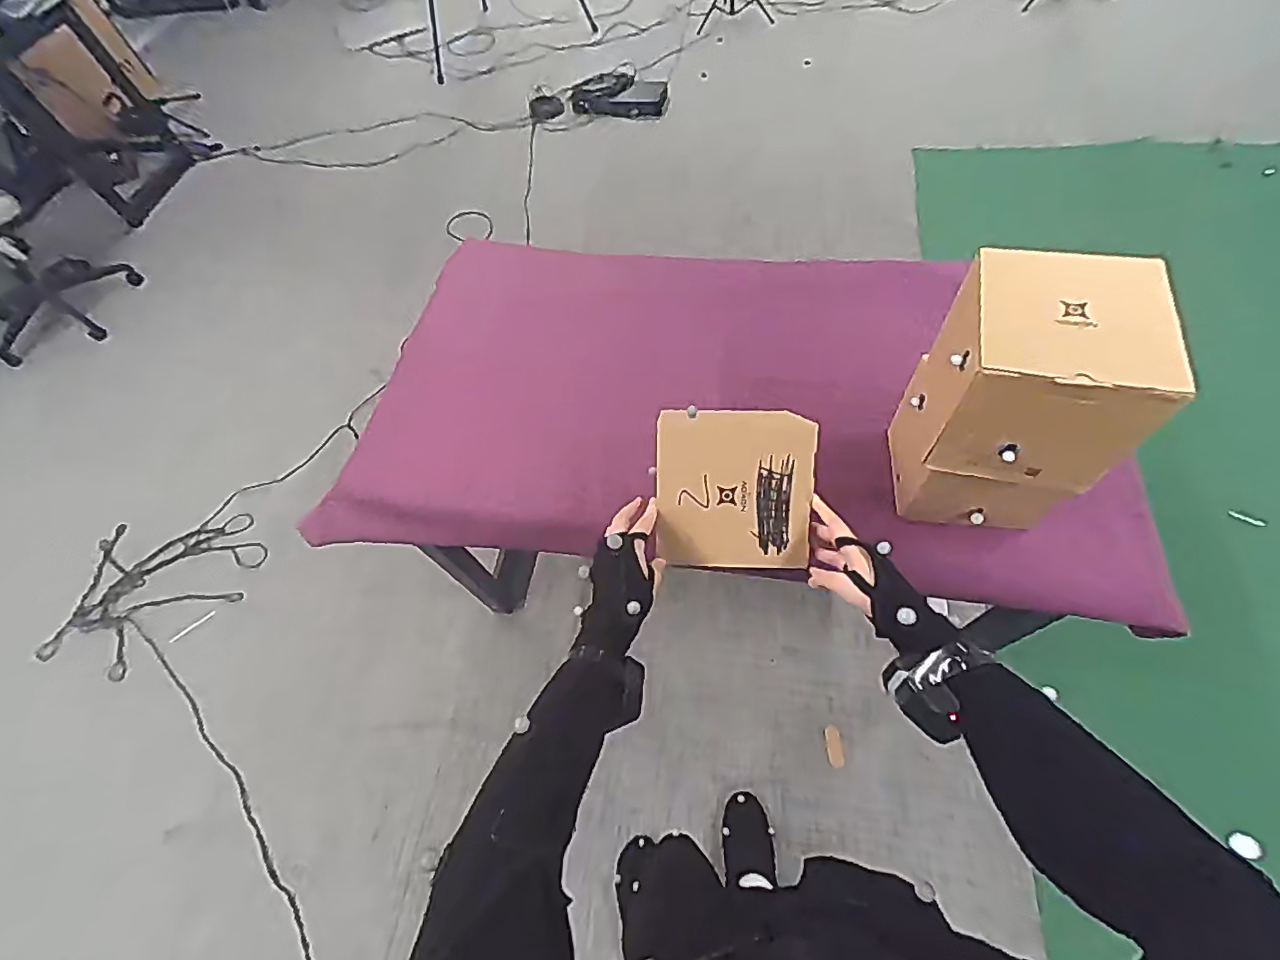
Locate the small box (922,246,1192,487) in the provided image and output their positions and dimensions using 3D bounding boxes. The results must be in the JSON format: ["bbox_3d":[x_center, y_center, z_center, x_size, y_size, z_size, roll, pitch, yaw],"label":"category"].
[{"bbox_3d":[0.415,-0.118,0.576,0.168,0.176,0.179,10,61,15],"label":"small box"}]

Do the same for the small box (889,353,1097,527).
[{"bbox_3d":[0.452,-0.049,0.720,0.179,0.176,0.168,3,58,11],"label":"small box"}]
